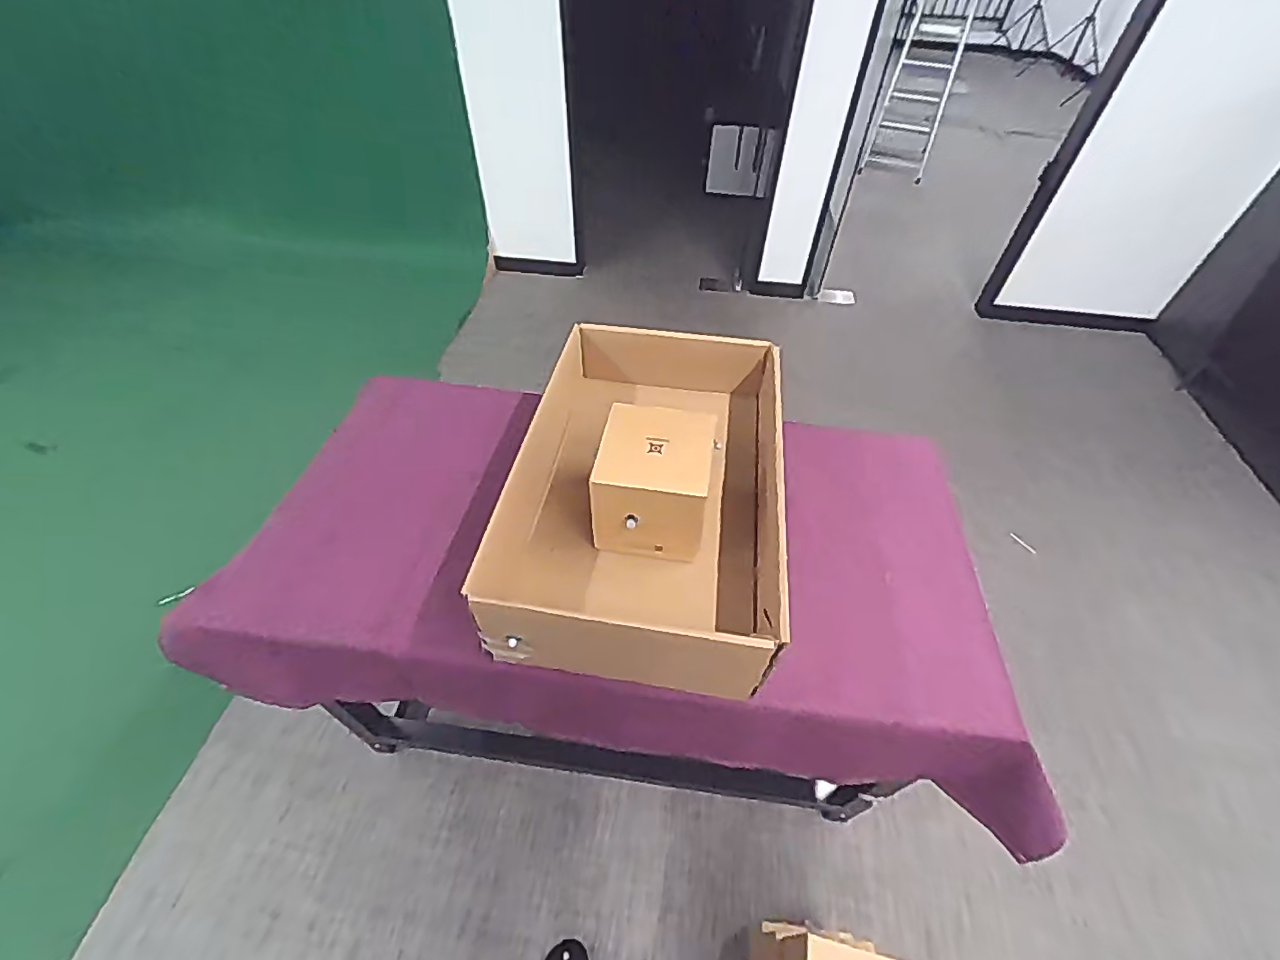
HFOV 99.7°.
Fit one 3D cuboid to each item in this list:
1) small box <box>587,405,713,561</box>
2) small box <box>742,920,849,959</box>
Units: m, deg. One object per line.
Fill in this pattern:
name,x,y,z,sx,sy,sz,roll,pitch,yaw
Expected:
small box,0.020,0.008,0.854,0.168,0.176,0.179,7,48,5
small box,0.299,0.975,1.051,0.179,0.176,0.168,5,49,4
